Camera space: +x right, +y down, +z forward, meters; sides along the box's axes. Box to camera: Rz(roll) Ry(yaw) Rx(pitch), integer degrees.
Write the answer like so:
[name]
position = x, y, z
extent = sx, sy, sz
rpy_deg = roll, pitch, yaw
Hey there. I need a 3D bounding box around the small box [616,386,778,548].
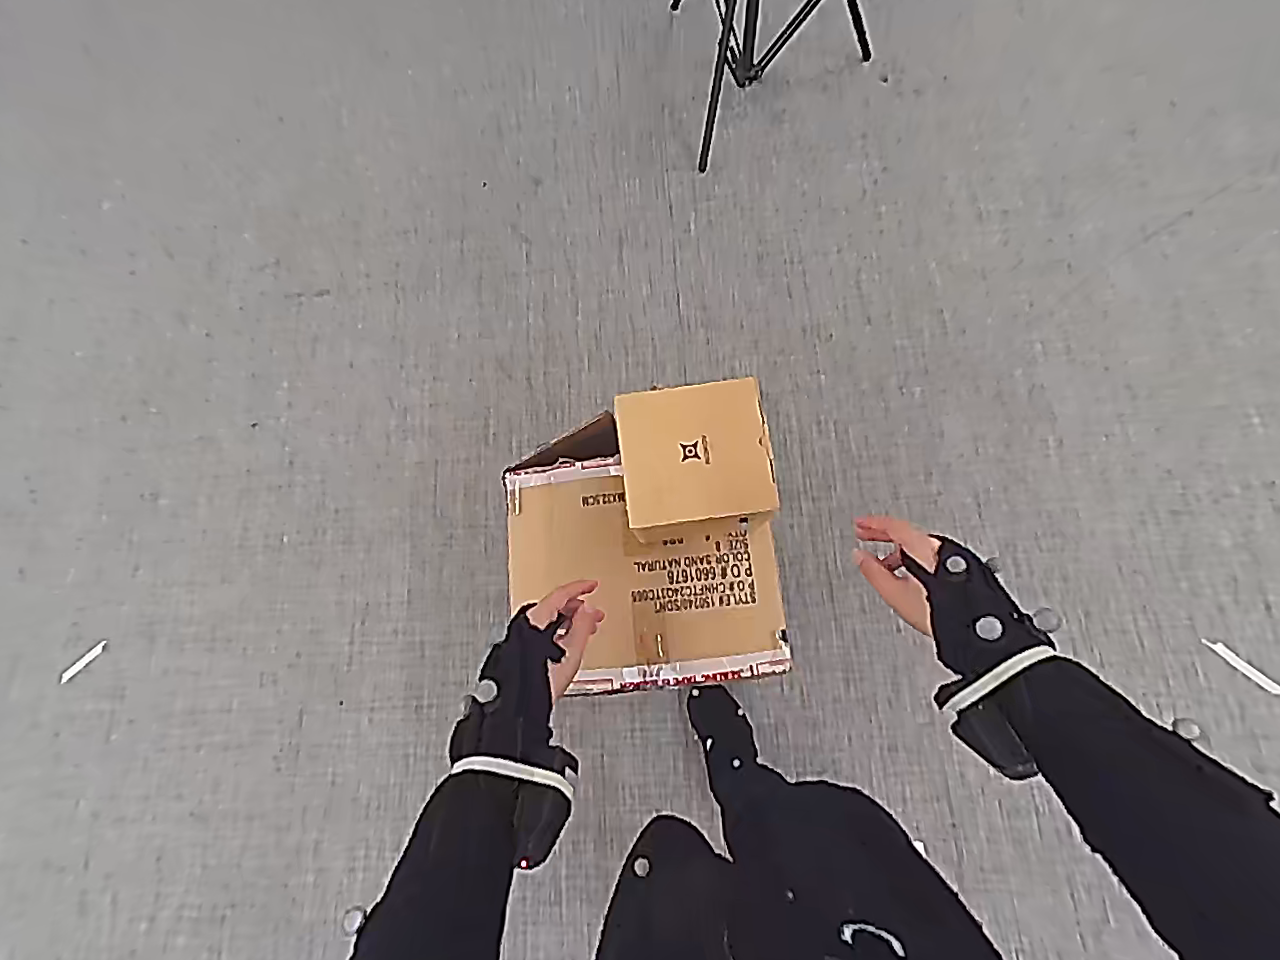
[small box]
position = 0.070, -0.007, 0.717
extent = 0.179, 0.176, 0.168
rpy_deg = -8, 77, 1
